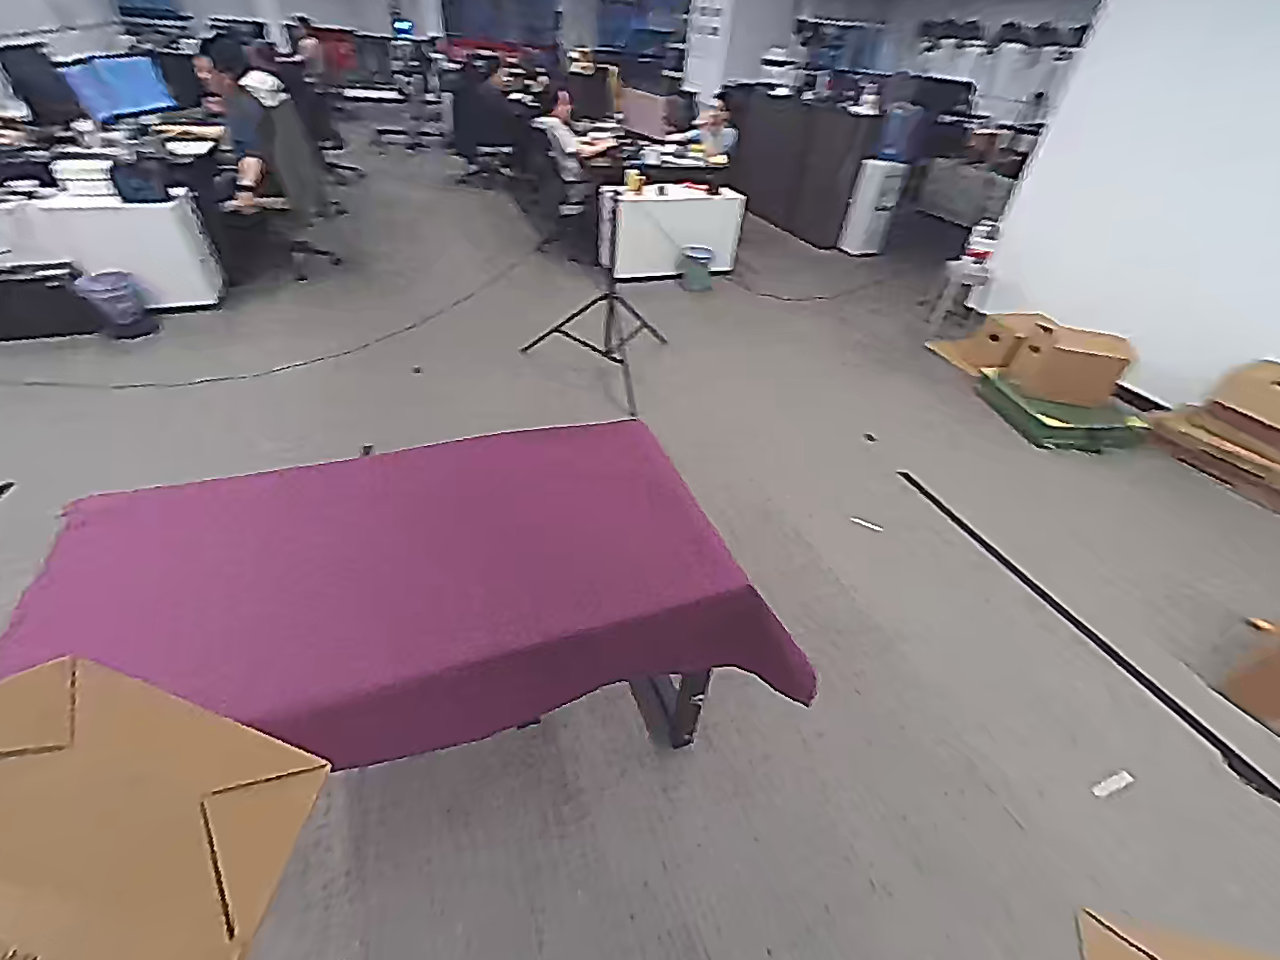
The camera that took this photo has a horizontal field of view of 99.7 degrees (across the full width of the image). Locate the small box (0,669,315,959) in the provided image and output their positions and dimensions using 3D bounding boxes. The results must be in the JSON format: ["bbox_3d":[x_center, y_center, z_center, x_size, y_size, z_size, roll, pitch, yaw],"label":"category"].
[{"bbox_3d":[-0.285,0.207,0.247,0.168,0.179,0.176,31,74,-14],"label":"small box"}]
